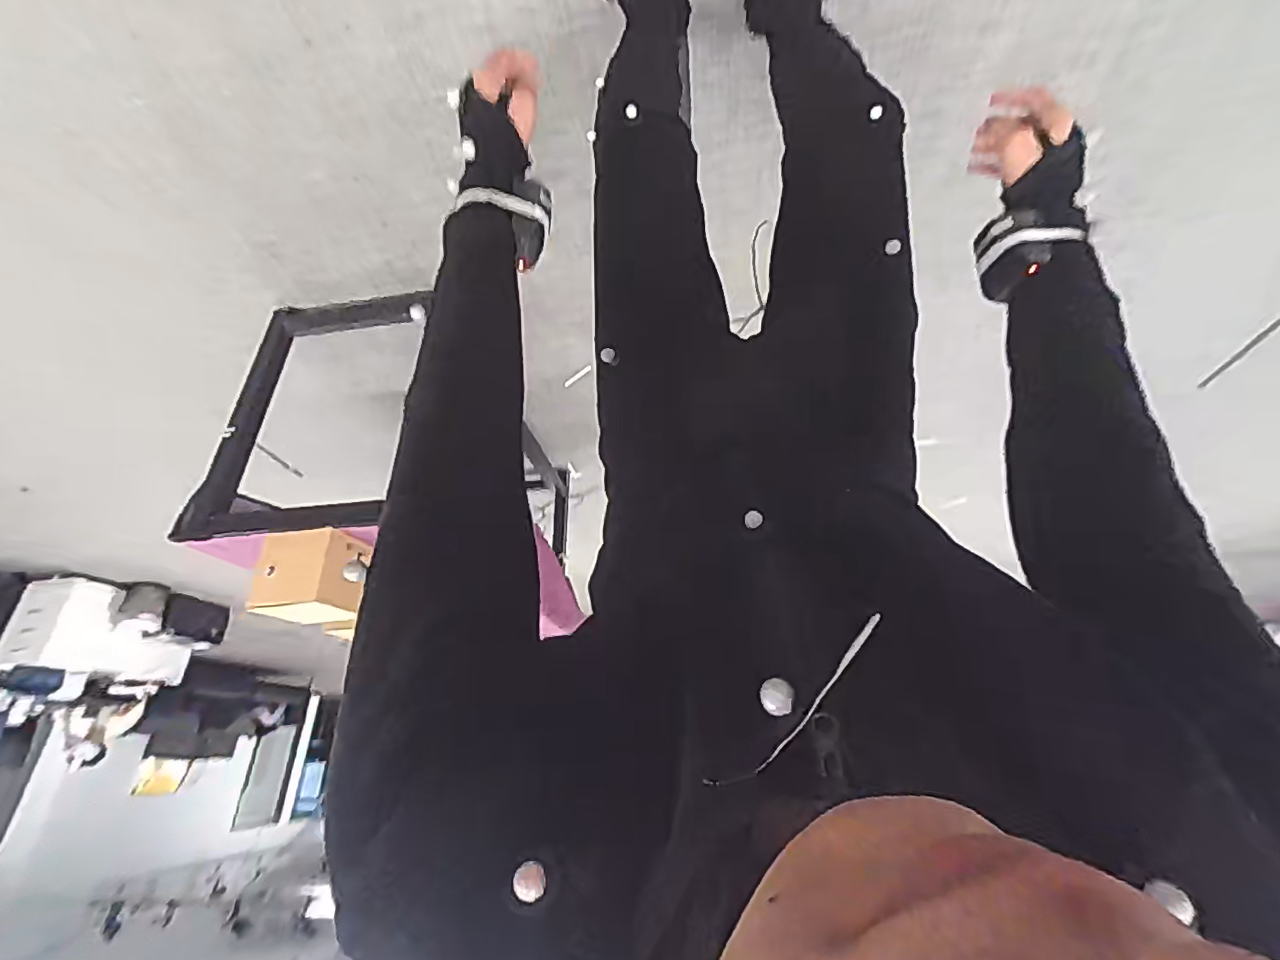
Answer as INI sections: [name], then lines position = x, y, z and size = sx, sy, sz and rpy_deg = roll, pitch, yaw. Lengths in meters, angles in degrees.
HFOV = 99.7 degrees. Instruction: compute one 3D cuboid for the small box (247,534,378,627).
[small box]
position = -0.732, 0.230, 1.228
size = 0.179, 0.176, 0.168
rpy_deg = -7, 153, 11
